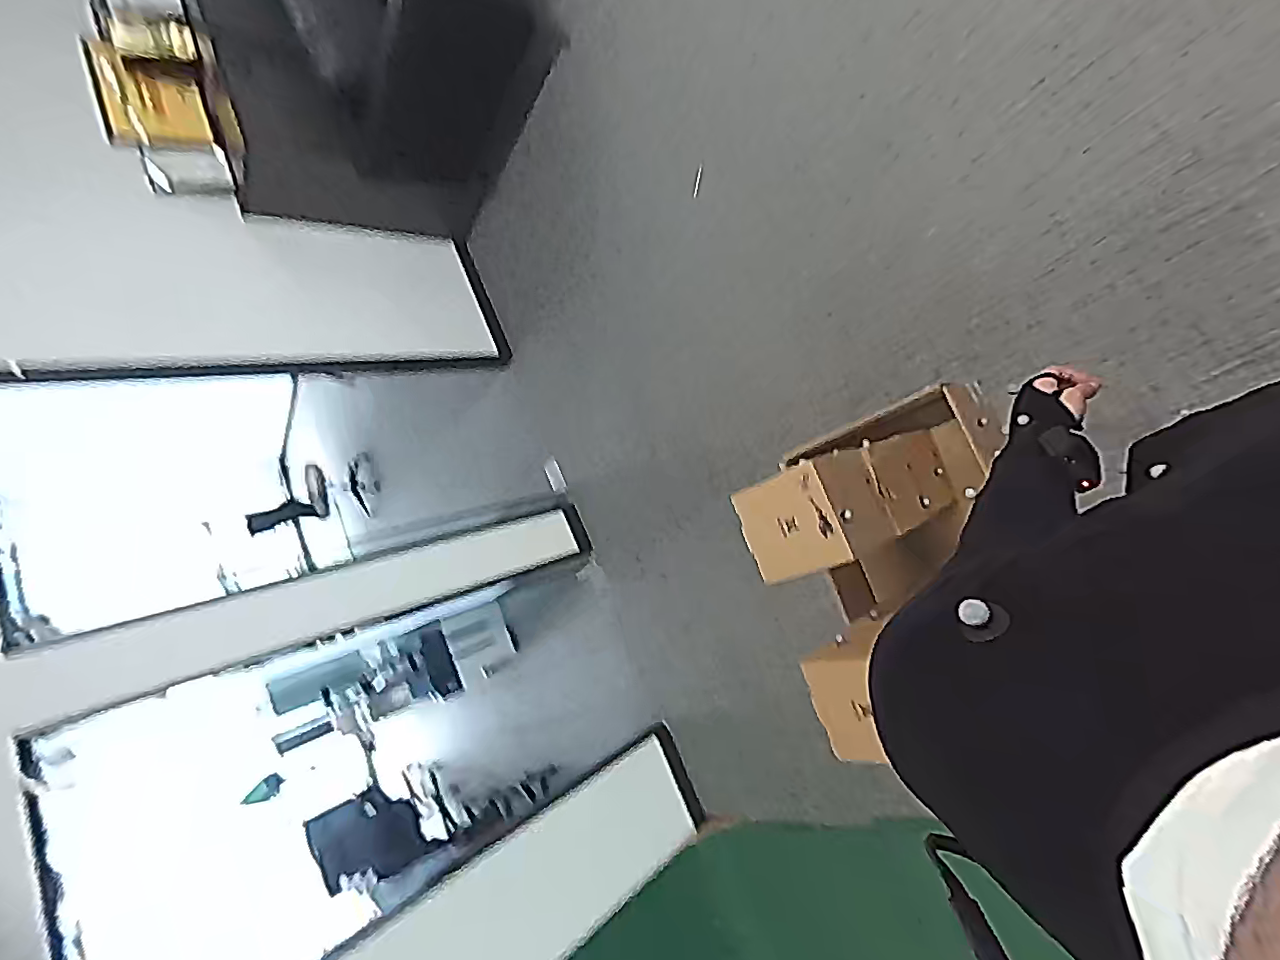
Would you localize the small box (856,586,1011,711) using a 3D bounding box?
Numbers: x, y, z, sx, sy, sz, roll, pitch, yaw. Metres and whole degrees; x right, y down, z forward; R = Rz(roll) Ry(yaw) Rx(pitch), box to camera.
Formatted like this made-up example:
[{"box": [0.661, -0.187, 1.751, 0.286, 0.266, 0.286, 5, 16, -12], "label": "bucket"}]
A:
[{"box": [0.542, 0.309, 1.000, 0.179, 0.176, 0.168, -27, 80, 48], "label": "small box"}]

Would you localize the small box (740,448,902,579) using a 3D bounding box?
[{"box": [0.314, 0.056, 0.940, 0.179, 0.176, 0.168, -32, 75, 47], "label": "small box"}]

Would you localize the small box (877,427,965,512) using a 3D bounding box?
[{"box": [0.553, -0.002, 1.158, 0.179, 0.176, 0.168, -30, 77, 47], "label": "small box"}]

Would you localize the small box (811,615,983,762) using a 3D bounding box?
[{"box": [0.423, 0.336, 0.892, 0.179, 0.176, 0.168, -28, 80, 48], "label": "small box"}]

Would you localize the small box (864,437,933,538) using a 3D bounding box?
[{"box": [0.437, 0.026, 1.044, 0.179, 0.176, 0.168, -28, 78, 48], "label": "small box"}]
